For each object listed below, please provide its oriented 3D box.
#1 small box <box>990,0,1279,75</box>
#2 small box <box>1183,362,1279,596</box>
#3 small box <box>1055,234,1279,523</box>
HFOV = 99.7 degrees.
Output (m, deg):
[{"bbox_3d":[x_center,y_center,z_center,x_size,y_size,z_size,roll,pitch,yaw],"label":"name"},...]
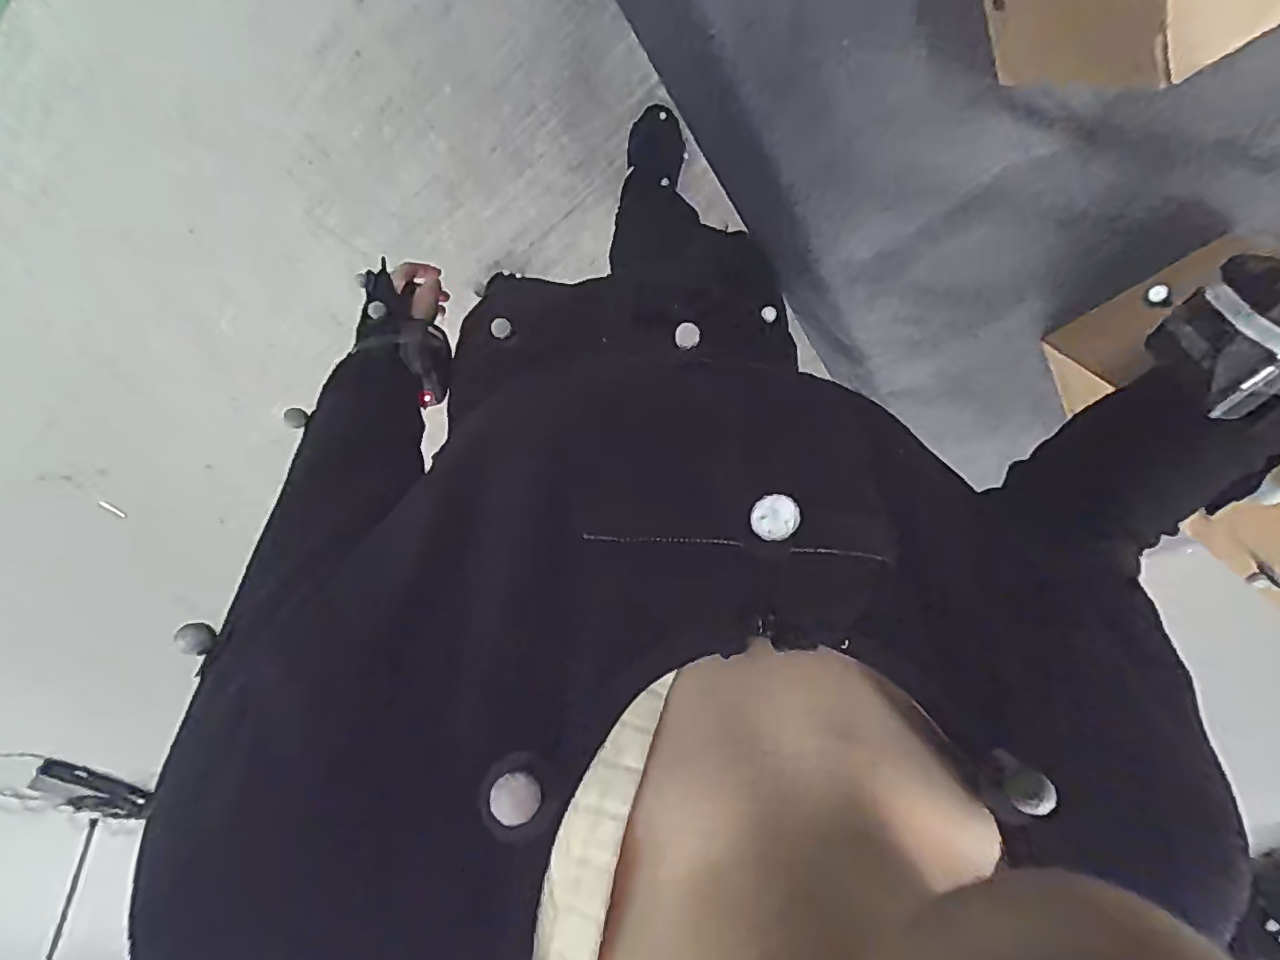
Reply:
[{"bbox_3d":[0.320,-0.367,0.306,0.179,0.176,0.168,-29,123,17],"label":"small box"},{"bbox_3d":[0.547,0.003,0.388,0.179,0.176,0.168,-31,123,19],"label":"small box"},{"bbox_3d":[0.540,-0.098,0.516,0.179,0.176,0.168,-33,121,21],"label":"small box"}]
